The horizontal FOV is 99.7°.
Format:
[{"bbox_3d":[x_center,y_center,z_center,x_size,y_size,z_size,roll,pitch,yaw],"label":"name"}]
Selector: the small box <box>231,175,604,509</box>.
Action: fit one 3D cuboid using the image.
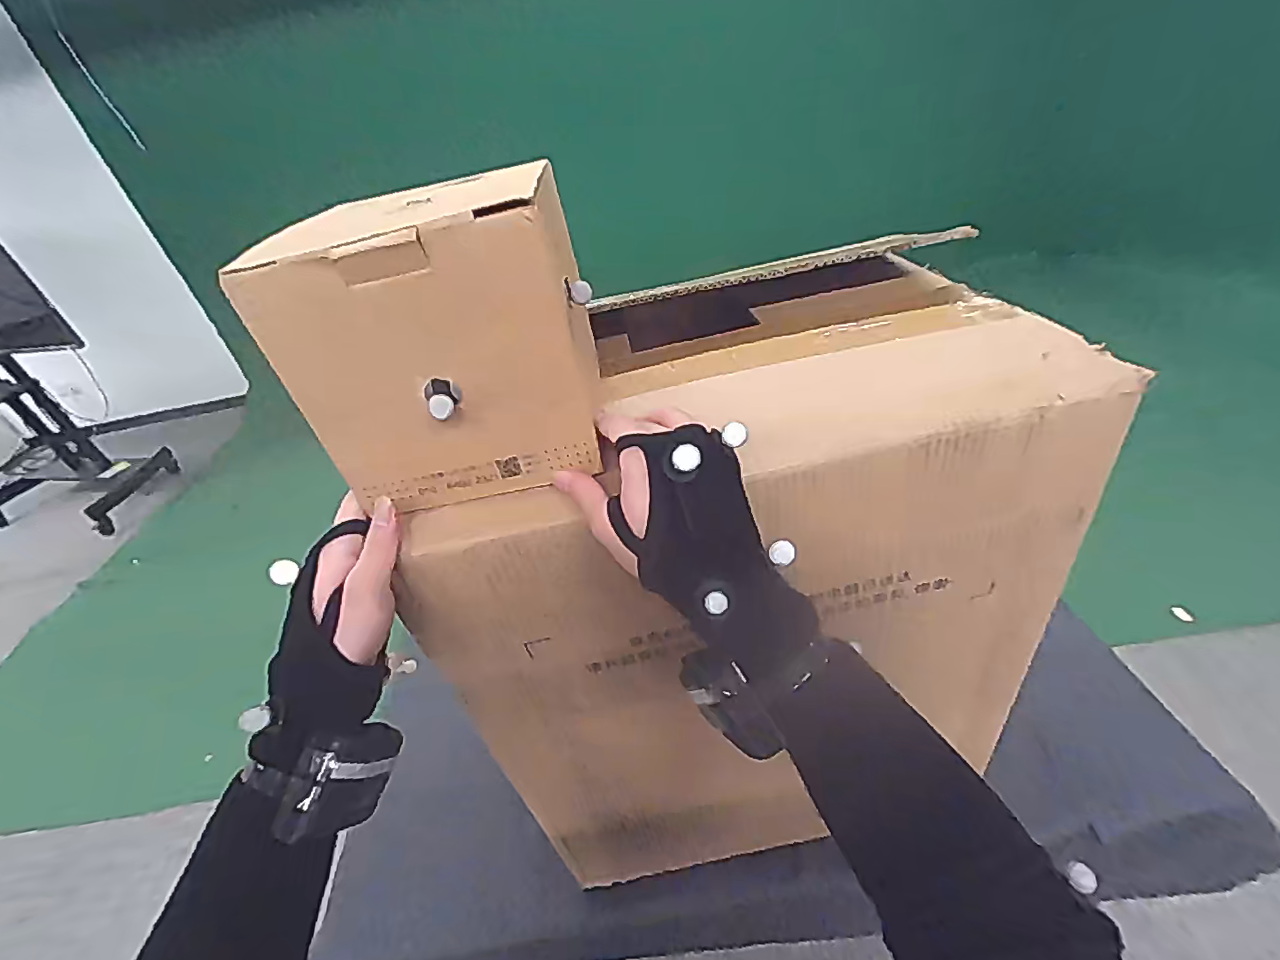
[{"bbox_3d":[-0.124,-0.095,0.386,0.168,0.176,0.179,-11,37,1],"label":"small box"}]
